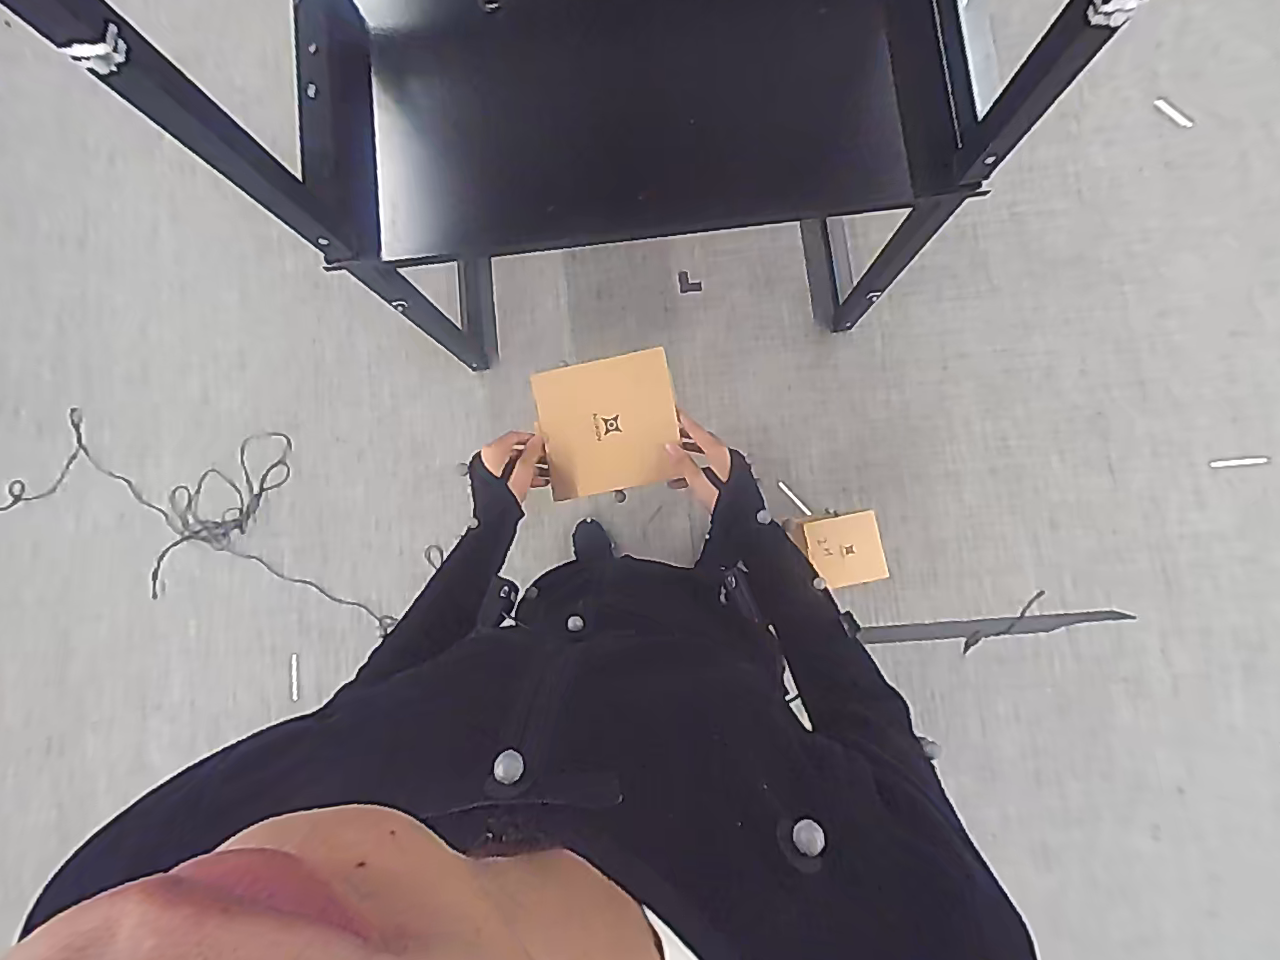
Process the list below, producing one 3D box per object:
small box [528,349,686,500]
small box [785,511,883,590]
[{"bbox_3d":[-0.034,-0.073,0.750,0.179,0.176,0.168,-11,92,7],"label":"small box"},{"bbox_3d":[0.485,0.173,1.374,0.179,0.176,0.168,-11,85,3],"label":"small box"}]
